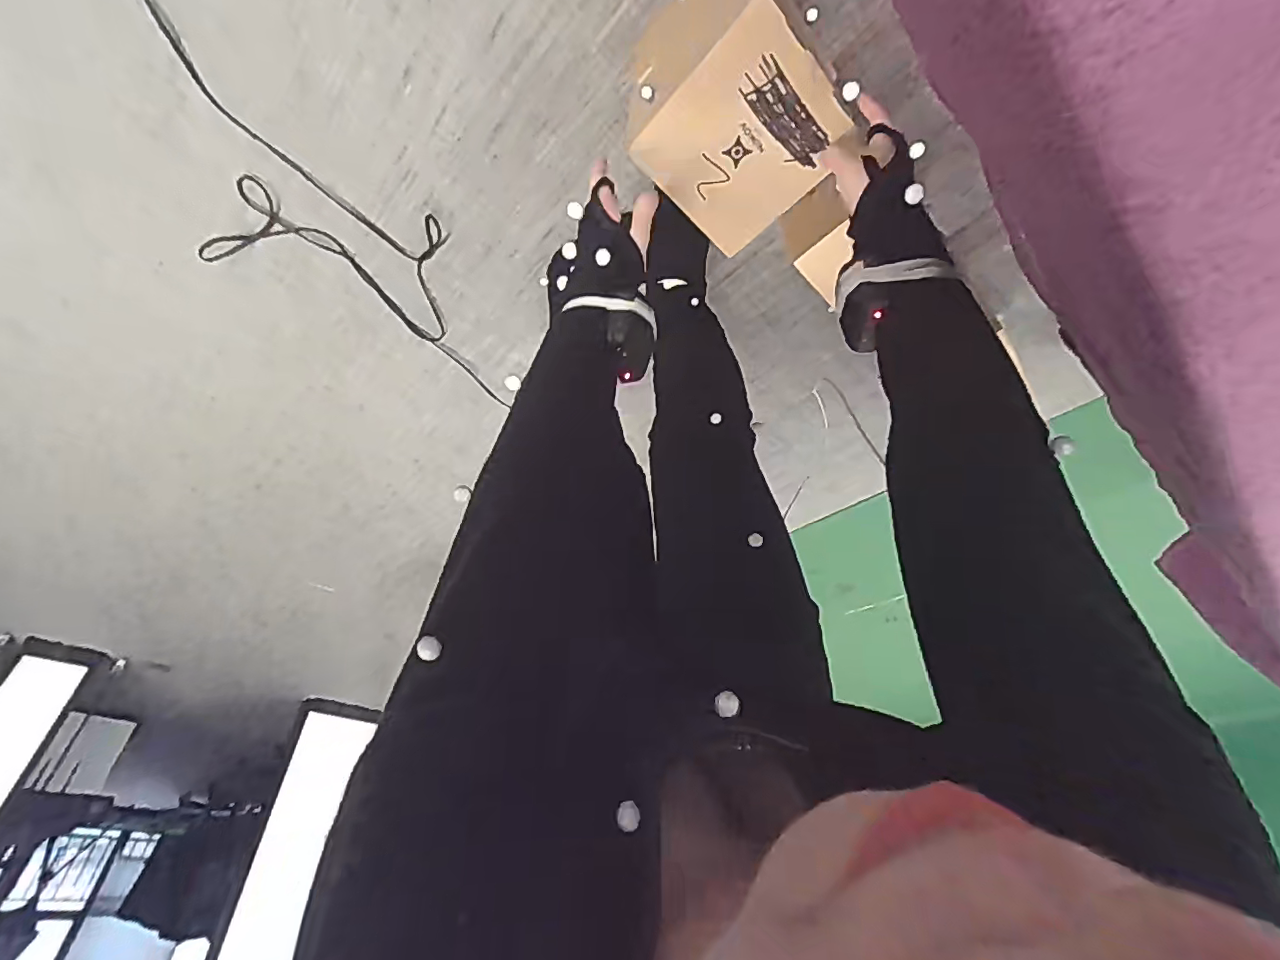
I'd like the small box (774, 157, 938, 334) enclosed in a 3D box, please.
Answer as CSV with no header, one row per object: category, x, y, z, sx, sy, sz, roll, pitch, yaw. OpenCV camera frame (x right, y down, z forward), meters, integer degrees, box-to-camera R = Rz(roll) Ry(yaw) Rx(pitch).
small box,0.336,-0.380,0.868,0.179,0.176,0.168,31,133,-32
